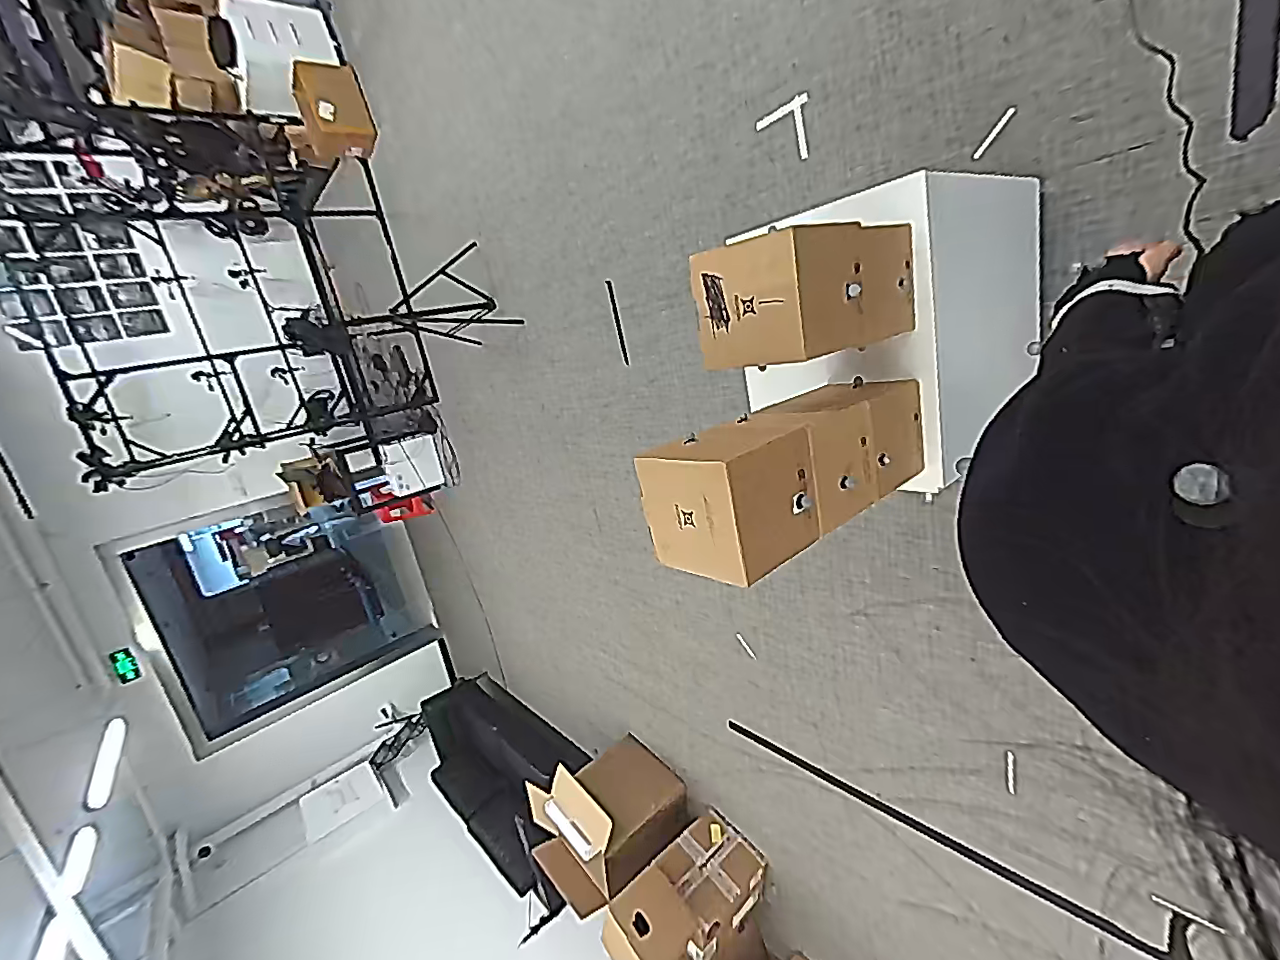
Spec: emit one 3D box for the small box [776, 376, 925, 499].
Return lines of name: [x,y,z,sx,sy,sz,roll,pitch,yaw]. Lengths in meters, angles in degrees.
small box: [0.365,-0.080,0.938,0.179,0.176,0.168,8,116,52]

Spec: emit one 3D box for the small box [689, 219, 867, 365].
small box: [0.198,-0.263,0.772,0.179,0.176,0.168,9,116,49]

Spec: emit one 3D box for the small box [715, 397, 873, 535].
small box: [0.244,-0.030,0.843,0.179,0.176,0.168,6,113,52]

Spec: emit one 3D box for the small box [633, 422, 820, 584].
small box: [0.120,0.020,0.750,0.179,0.176,0.168,5,113,51]
